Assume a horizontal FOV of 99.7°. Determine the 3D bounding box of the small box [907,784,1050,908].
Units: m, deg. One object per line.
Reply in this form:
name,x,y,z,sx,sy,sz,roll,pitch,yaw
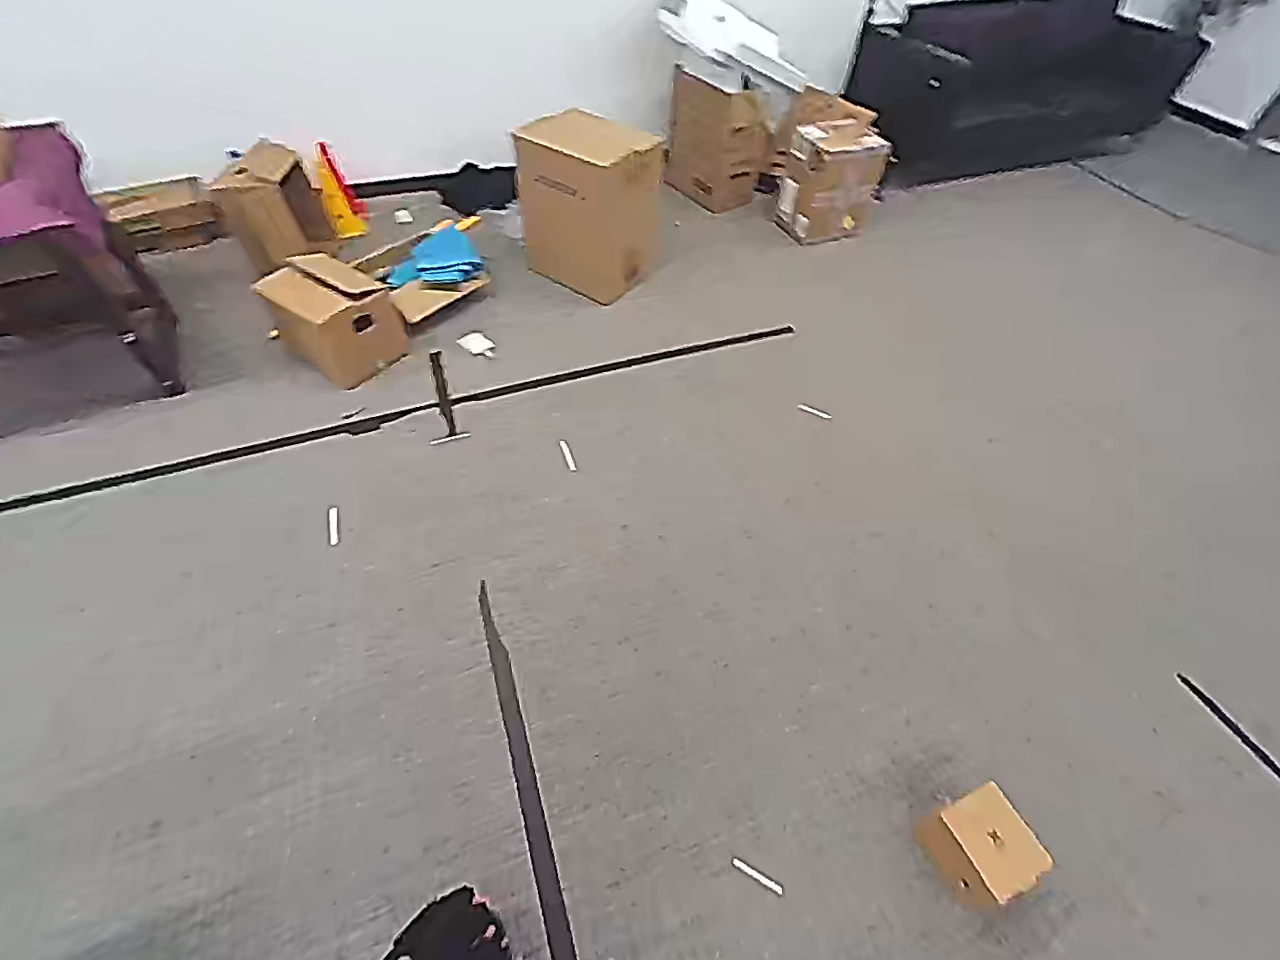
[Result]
small box,0.748,0.823,1.216,0.168,0.176,0.179,-18,53,-18
